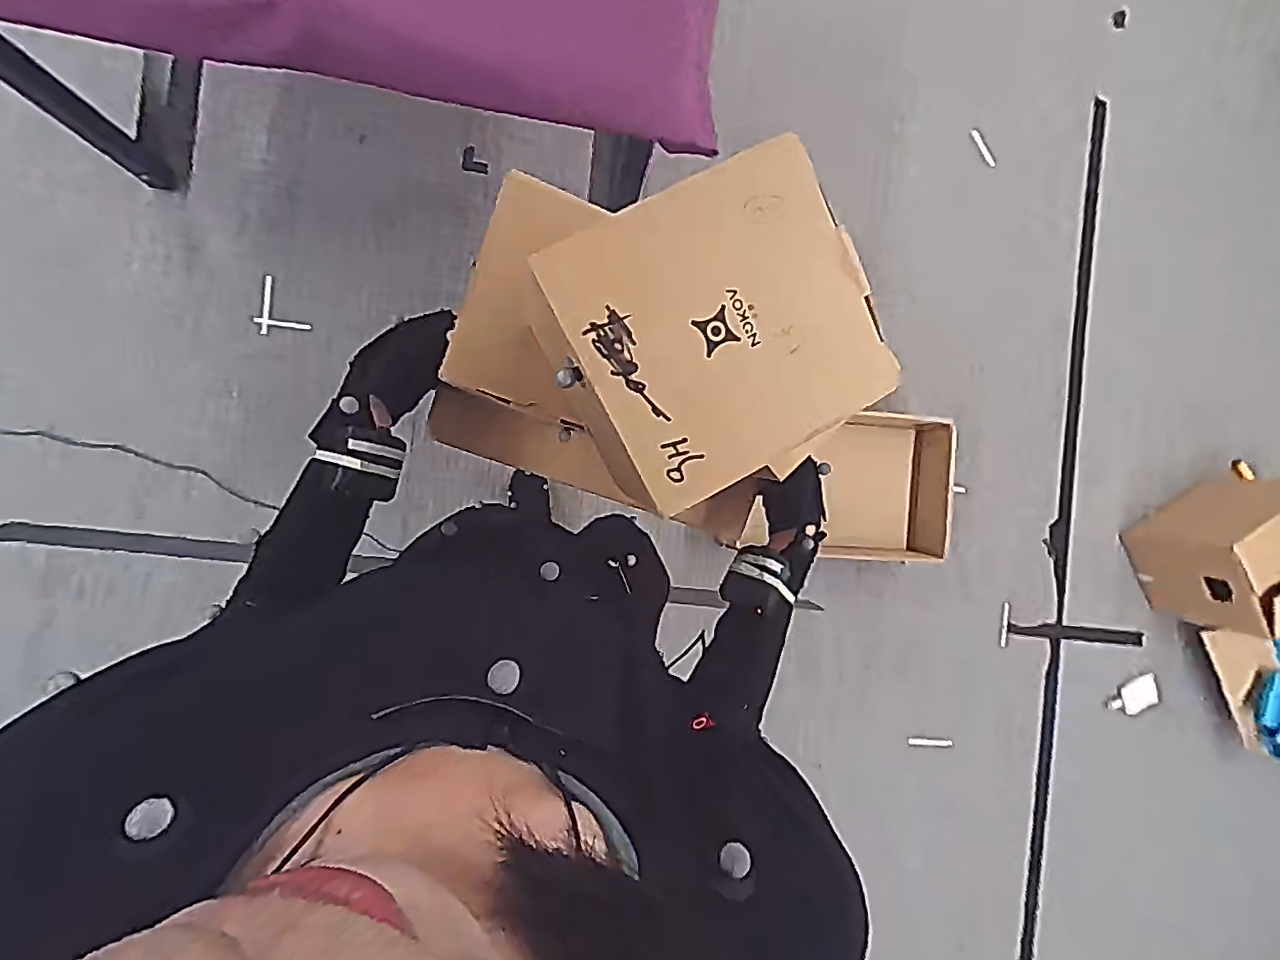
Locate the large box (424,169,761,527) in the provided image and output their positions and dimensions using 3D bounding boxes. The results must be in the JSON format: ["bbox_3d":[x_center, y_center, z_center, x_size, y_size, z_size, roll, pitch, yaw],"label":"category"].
[{"bbox_3d":[-0.044,-0.153,0.777,0.408,0.320,0.320,18,93,-13],"label":"large box"}]

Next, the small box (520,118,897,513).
[{"bbox_3d":[0.030,-0.098,0.379,0.179,0.176,0.168,-29,99,-7],"label":"small box"}]
